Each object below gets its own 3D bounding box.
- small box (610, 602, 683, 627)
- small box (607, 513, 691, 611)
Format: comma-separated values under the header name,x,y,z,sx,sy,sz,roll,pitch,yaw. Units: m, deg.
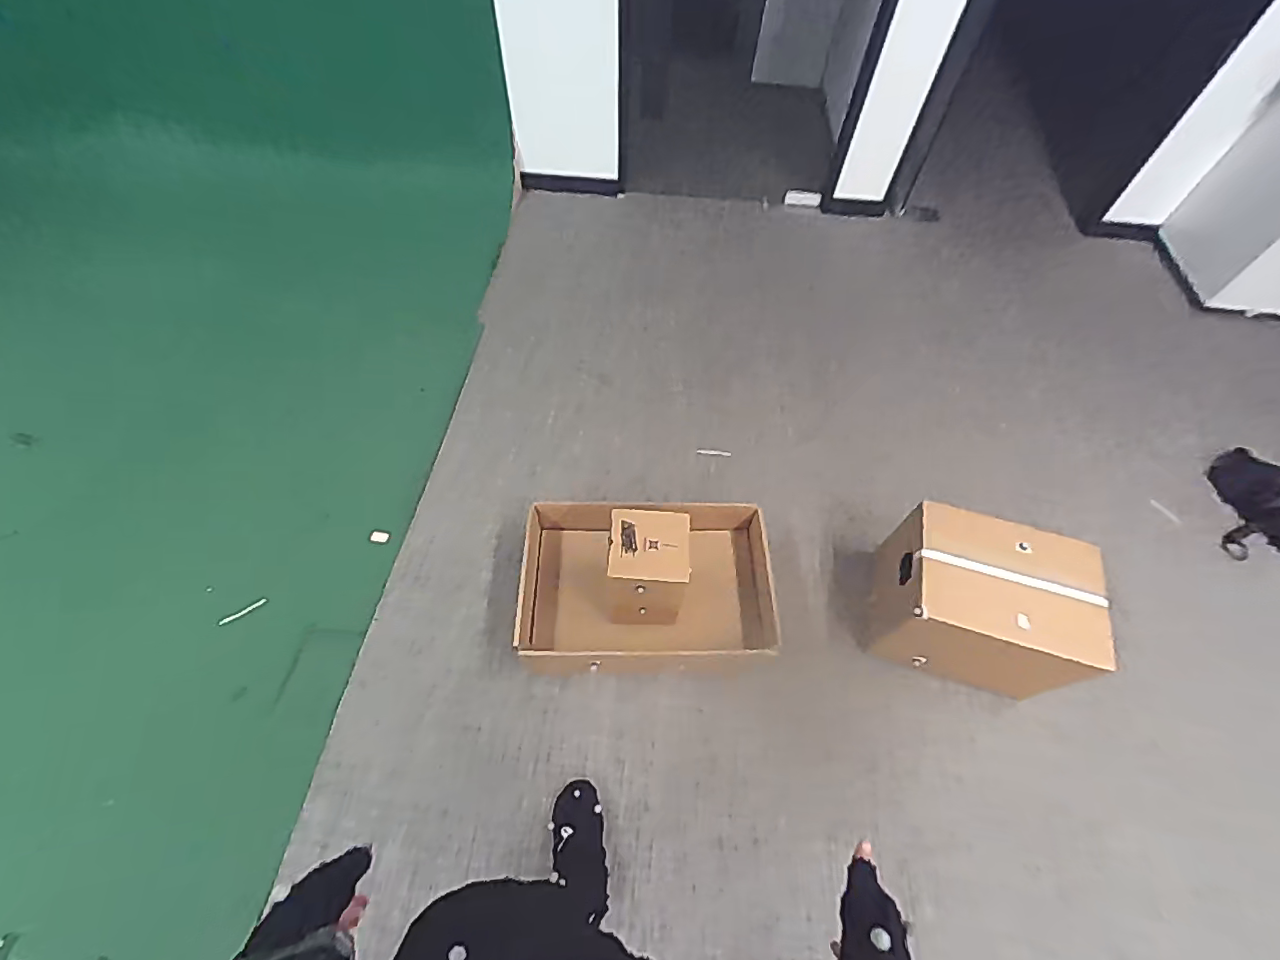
name,x,y,z,sx,sy,sz,roll,pitch,yaw
small box,0.013,0.269,1.379,0.179,0.176,0.168,2,58,-3
small box,0.020,0.191,1.234,0.179,0.176,0.168,4,57,-1
